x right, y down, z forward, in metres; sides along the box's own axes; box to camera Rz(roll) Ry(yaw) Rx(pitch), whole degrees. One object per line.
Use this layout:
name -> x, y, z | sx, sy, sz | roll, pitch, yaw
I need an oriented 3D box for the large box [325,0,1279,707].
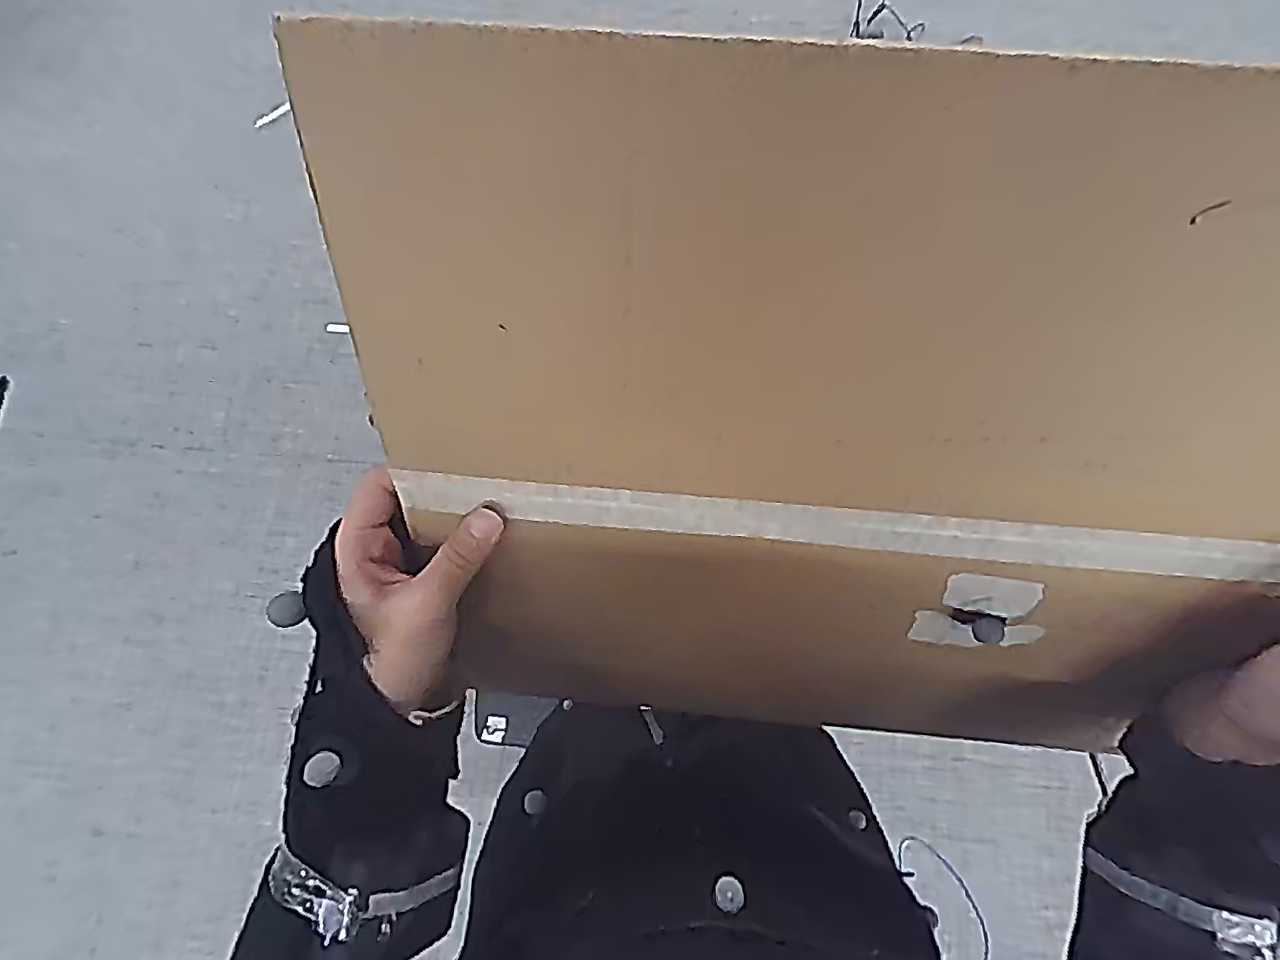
large box -> 0.113, -0.094, 0.344 | 0.408, 0.320, 0.320 | 4, 36, 2
